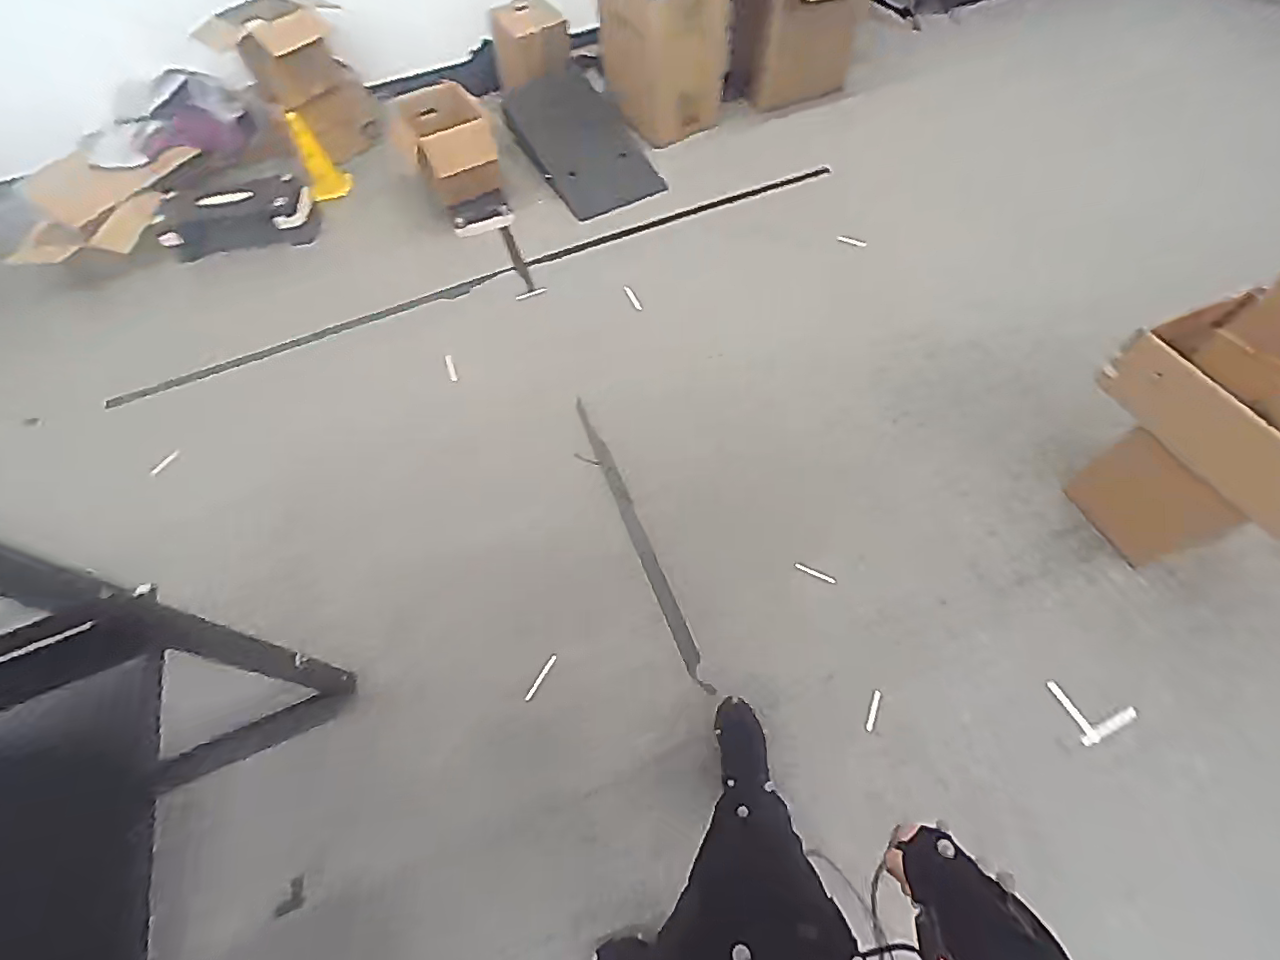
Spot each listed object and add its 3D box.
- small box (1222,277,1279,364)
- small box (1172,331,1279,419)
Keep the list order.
[{"bbox_3d":[1.478,-0.373,1.188,0.168,0.176,0.179,-29,62,-13],"label":"small box"},{"bbox_3d":[1.485,-0.284,1.325,0.179,0.176,0.168,-28,61,-12],"label":"small box"}]
